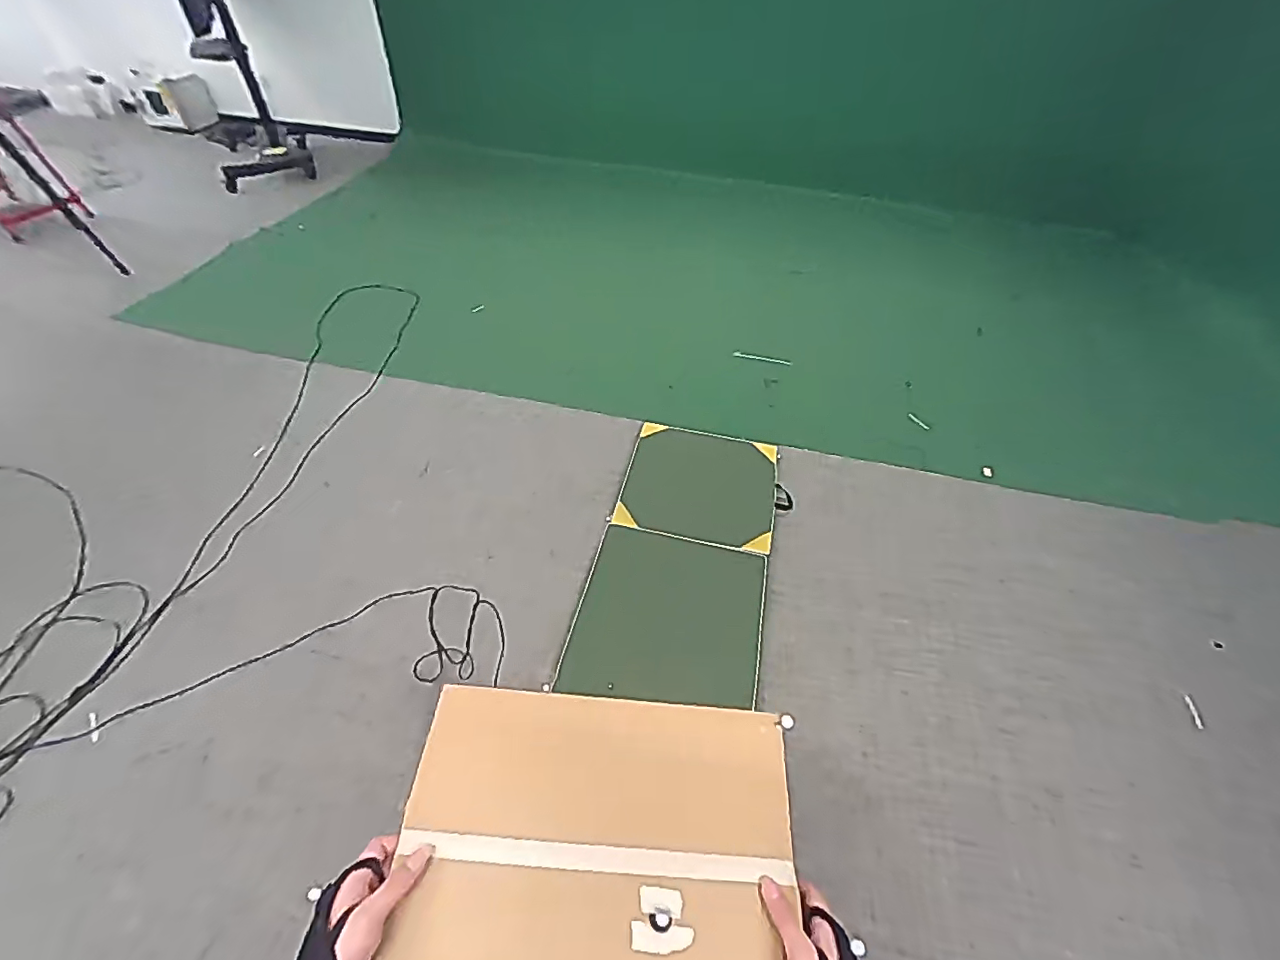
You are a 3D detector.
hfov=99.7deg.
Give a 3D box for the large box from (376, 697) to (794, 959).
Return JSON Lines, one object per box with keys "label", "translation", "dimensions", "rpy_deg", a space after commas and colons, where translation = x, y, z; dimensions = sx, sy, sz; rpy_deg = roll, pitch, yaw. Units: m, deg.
{"label": "large box", "translation": [-0.056, 0.488, 0.674], "dimensions": [0.408, 0.320, 0.320], "rpy_deg": [5, 52, -1]}
